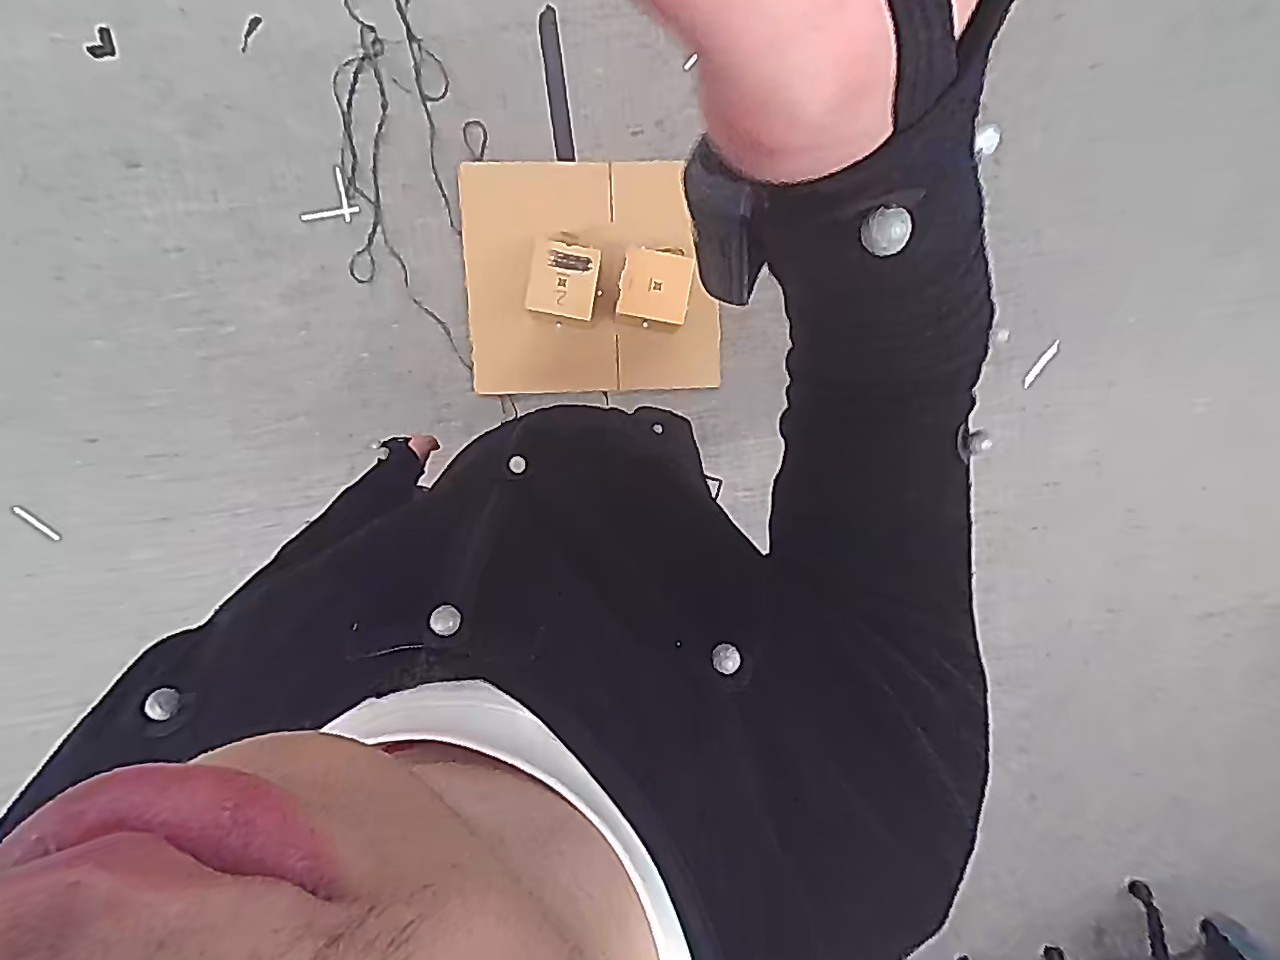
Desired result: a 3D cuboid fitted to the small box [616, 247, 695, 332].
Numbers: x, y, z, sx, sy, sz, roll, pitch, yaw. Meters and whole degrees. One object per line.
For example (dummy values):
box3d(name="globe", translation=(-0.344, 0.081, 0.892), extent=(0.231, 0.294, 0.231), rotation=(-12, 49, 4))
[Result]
box3d(name="small box", translation=(0.036, -0.498, 1.440), extent=(0.179, 0.176, 0.168), rotation=(10, 97, -4))
